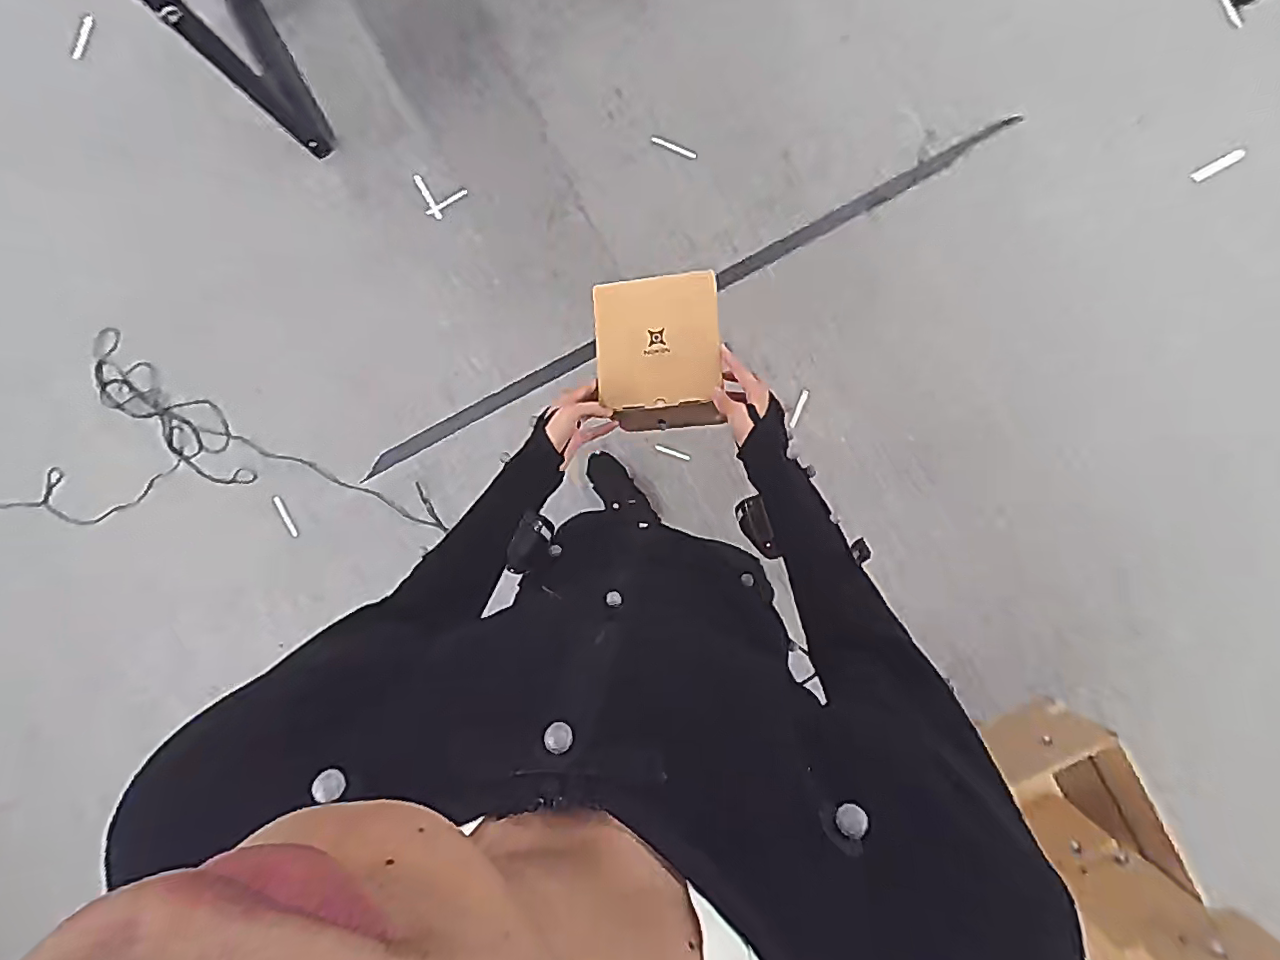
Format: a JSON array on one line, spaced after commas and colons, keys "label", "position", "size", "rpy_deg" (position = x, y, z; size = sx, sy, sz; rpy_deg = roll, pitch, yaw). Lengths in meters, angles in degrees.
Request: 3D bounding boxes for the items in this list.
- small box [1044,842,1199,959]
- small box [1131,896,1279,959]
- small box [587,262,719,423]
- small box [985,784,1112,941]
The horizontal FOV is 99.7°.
[{"label": "small box", "position": [0.885, 0.799, 0.975], "size": [0.168, 0.176, 0.179], "rpy_deg": [-24, 92, 2]}, {"label": "small box", "position": [0.908, 0.789, 0.810], "size": [0.168, 0.176, 0.179], "rpy_deg": [-23, 91, 2]}, {"label": "small box", "position": [0.026, -0.188, 0.790], "size": [0.168, 0.176, 0.179], "rpy_deg": [-5, 86, 9]}, {"label": "small box", "position": [0.884, 0.794, 1.140], "size": [0.168, 0.176, 0.179], "rpy_deg": [-31, 91, 2]}]
